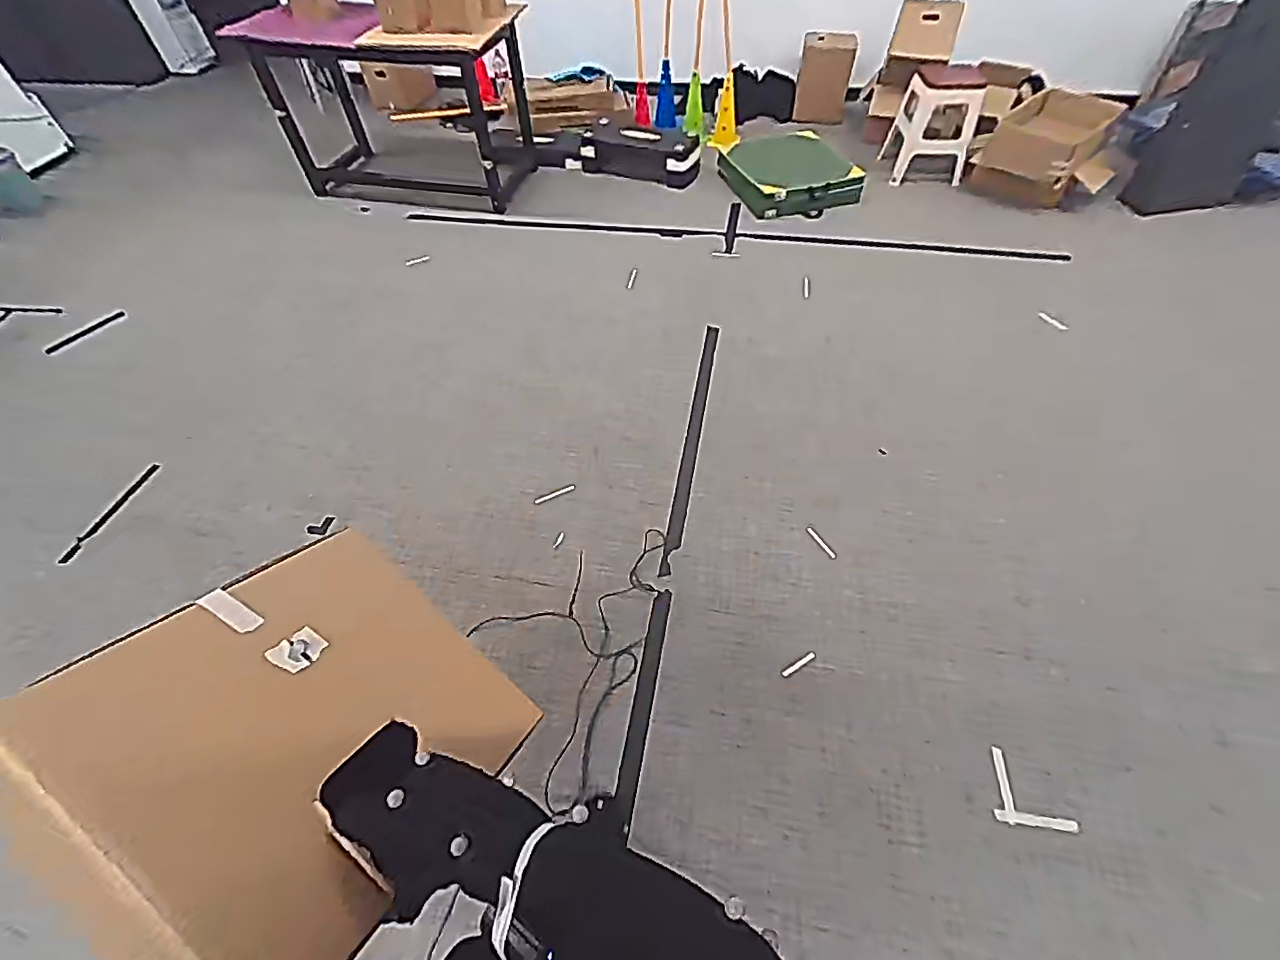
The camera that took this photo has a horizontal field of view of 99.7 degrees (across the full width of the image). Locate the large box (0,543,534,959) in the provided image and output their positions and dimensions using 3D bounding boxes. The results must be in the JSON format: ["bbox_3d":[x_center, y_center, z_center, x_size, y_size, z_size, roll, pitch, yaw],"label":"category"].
[{"bbox_3d":[-0.395,0.346,0.613,0.320,0.408,0.320,44,34,5],"label":"large box"}]
